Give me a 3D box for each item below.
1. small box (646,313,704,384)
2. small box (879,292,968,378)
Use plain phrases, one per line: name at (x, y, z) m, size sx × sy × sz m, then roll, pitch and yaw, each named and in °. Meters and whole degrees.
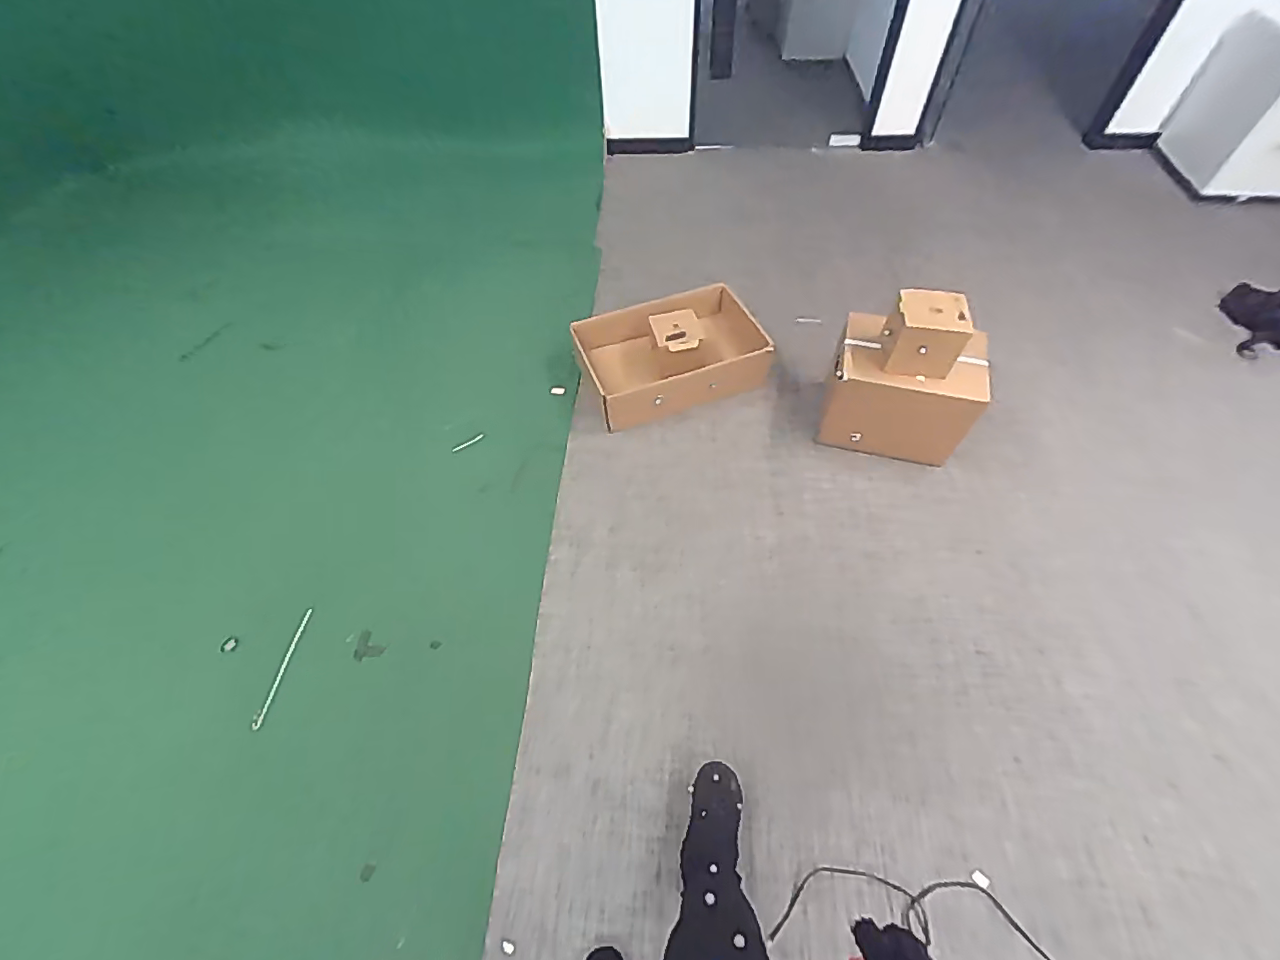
small box at (0.124, -0.459, 1.918) m, size 0.168 × 0.176 × 0.179 m, roll -13°, pitch 53°, yaw -5°
small box at (0.790, -0.407, 1.528) m, size 0.179 × 0.176 × 0.168 m, roll 7°, pitch 56°, yaw 8°
